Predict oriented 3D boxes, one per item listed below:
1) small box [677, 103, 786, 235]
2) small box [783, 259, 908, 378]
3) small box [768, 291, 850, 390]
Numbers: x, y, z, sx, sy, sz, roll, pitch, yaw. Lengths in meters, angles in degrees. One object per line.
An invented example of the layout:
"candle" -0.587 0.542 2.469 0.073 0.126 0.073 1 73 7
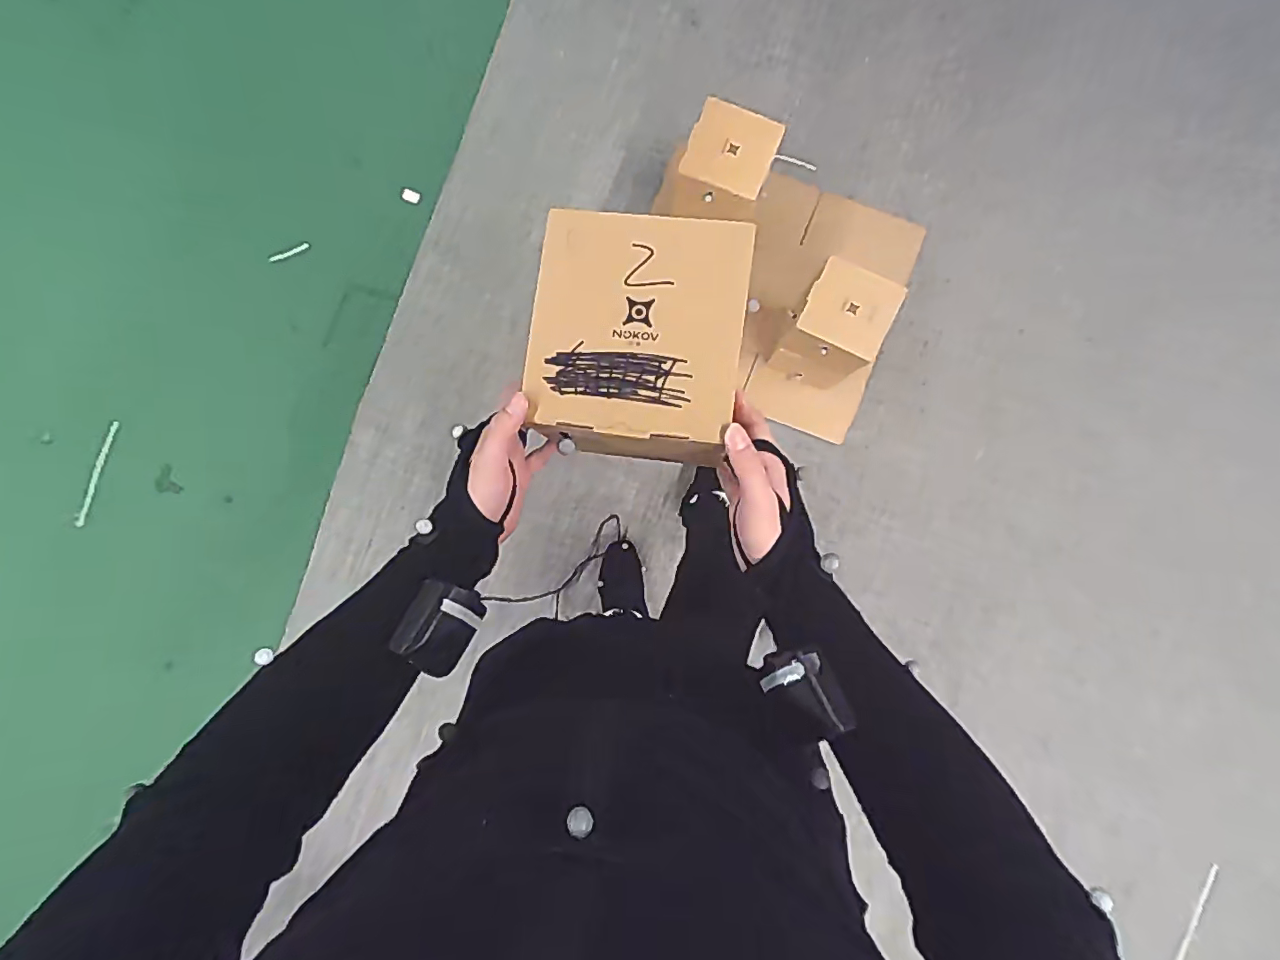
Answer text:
"small box" 0.191 -0.664 1.180 0.179 0.176 0.168 23 91 3
"small box" 0.431 -0.337 1.170 0.179 0.176 0.168 27 92 3
"small box" 0.439 -0.333 1.334 0.179 0.176 0.168 24 91 2
